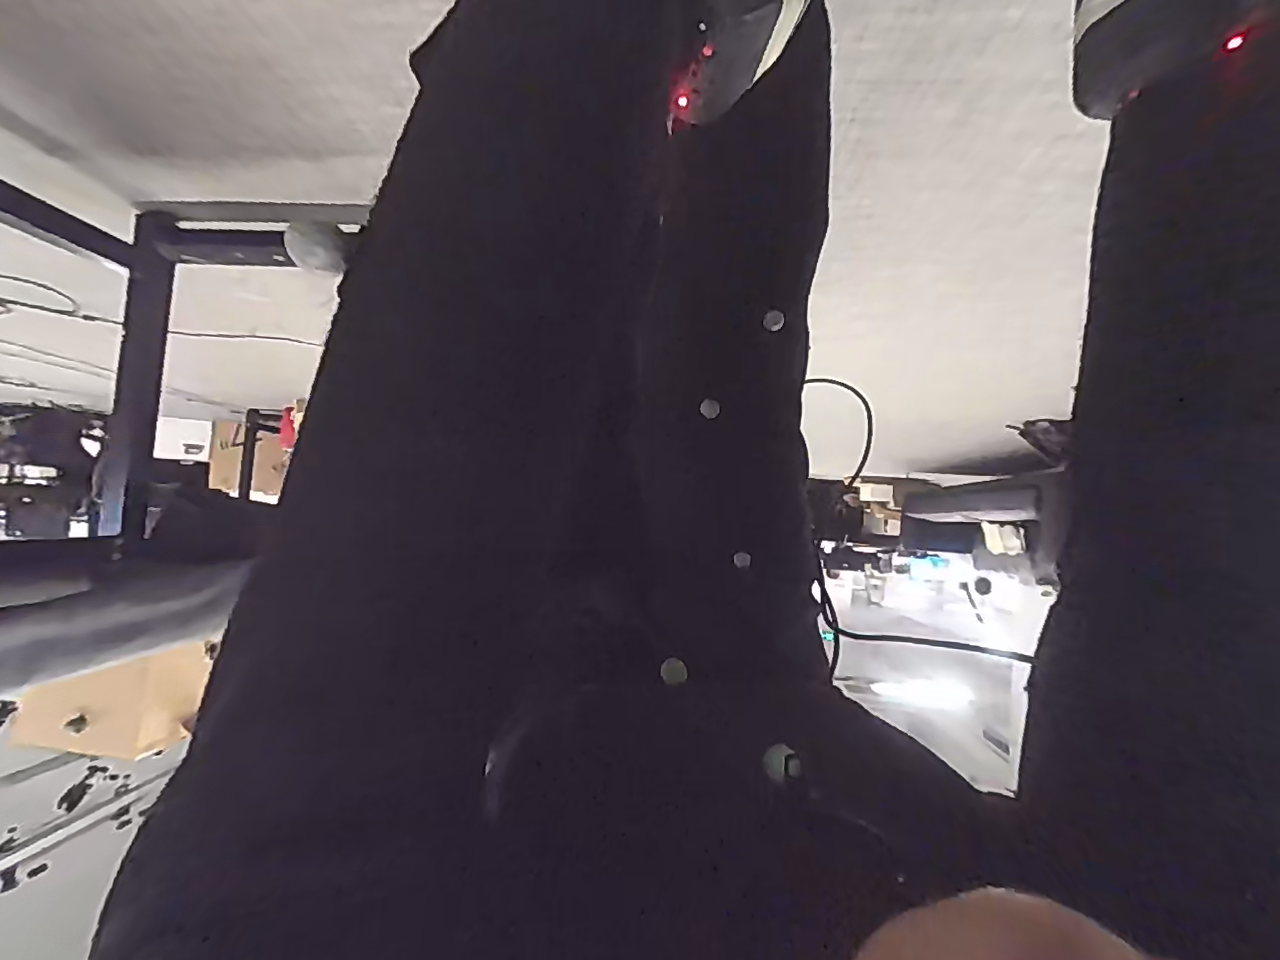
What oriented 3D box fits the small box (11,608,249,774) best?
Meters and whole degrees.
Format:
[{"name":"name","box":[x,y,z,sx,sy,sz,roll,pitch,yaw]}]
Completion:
[{"name":"small box","box":[-0.682,0.275,0.746,0.179,0.176,0.168,3,176,7]}]
